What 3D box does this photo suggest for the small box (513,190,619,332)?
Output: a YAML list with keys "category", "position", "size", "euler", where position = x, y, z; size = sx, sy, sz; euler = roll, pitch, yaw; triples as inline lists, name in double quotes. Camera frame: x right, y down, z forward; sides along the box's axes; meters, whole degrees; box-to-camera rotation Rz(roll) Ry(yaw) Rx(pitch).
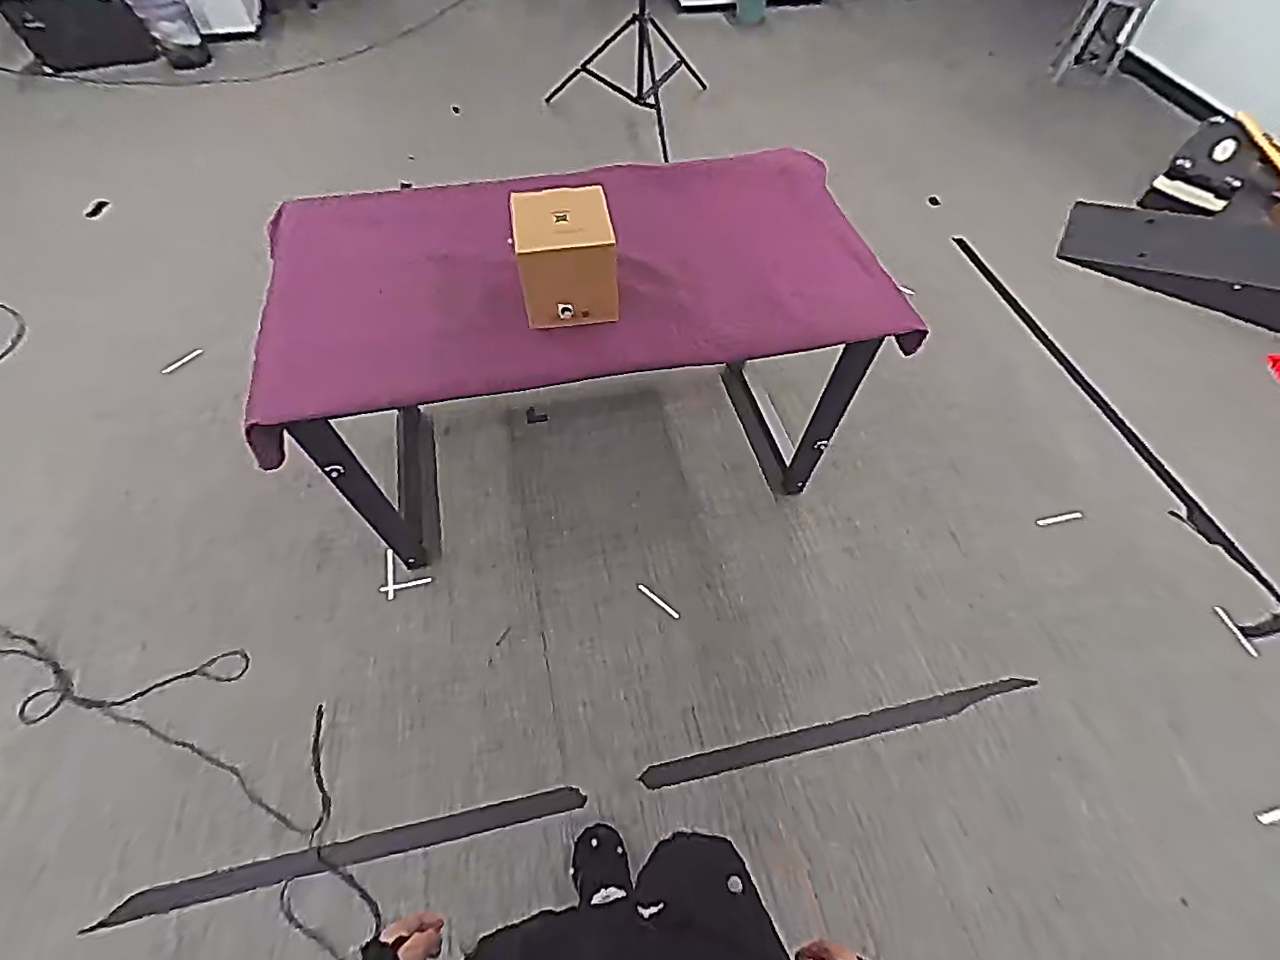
- category: "small box"
  position: [-0.133, -0.398, 0.991]
  size: [0.168, 0.176, 0.179]
  euler: [-9, 59, -6]
